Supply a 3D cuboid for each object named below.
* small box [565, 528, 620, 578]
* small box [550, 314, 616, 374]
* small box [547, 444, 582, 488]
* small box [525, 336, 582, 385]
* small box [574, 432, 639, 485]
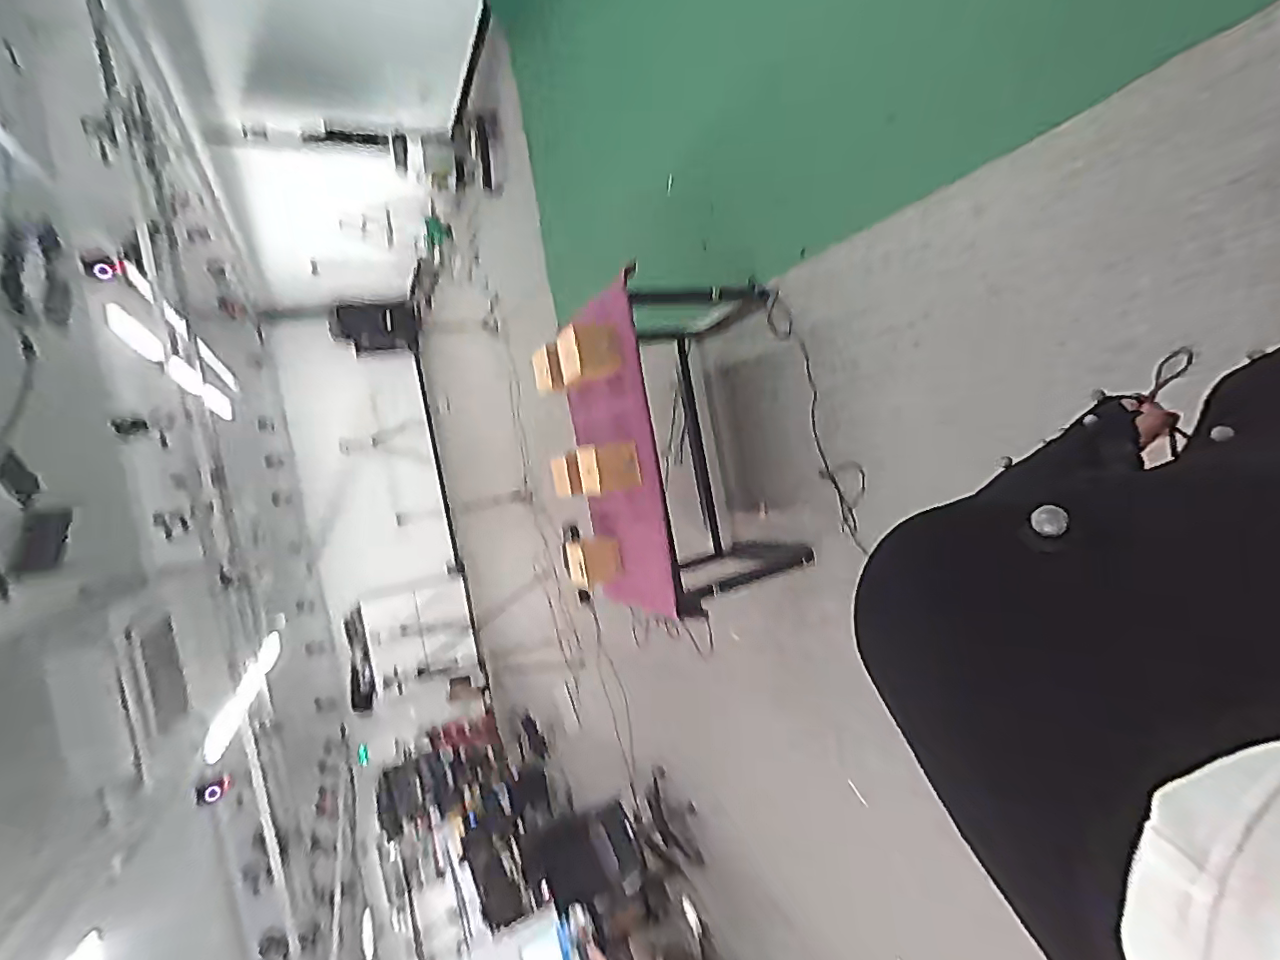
[{"bbox_3d":[-0.194,0.304,2.285,0.179,0.176,0.168,-2,100,60],"label":"small box"},{"bbox_3d":[-0.206,-0.489,1.952,0.179,0.176,0.168,-5,99,61],"label":"small box"},{"bbox_3d":[-0.271,-0.066,2.268,0.179,0.176,0.168,1,104,59],"label":"small box"},{"bbox_3d":[-0.353,-0.492,2.220,0.179,0.176,0.168,-2,102,61],"label":"small box"},{"bbox_3d":[-0.124,-0.080,1.998,0.179,0.176,0.168,-1,101,61],"label":"small box"}]
